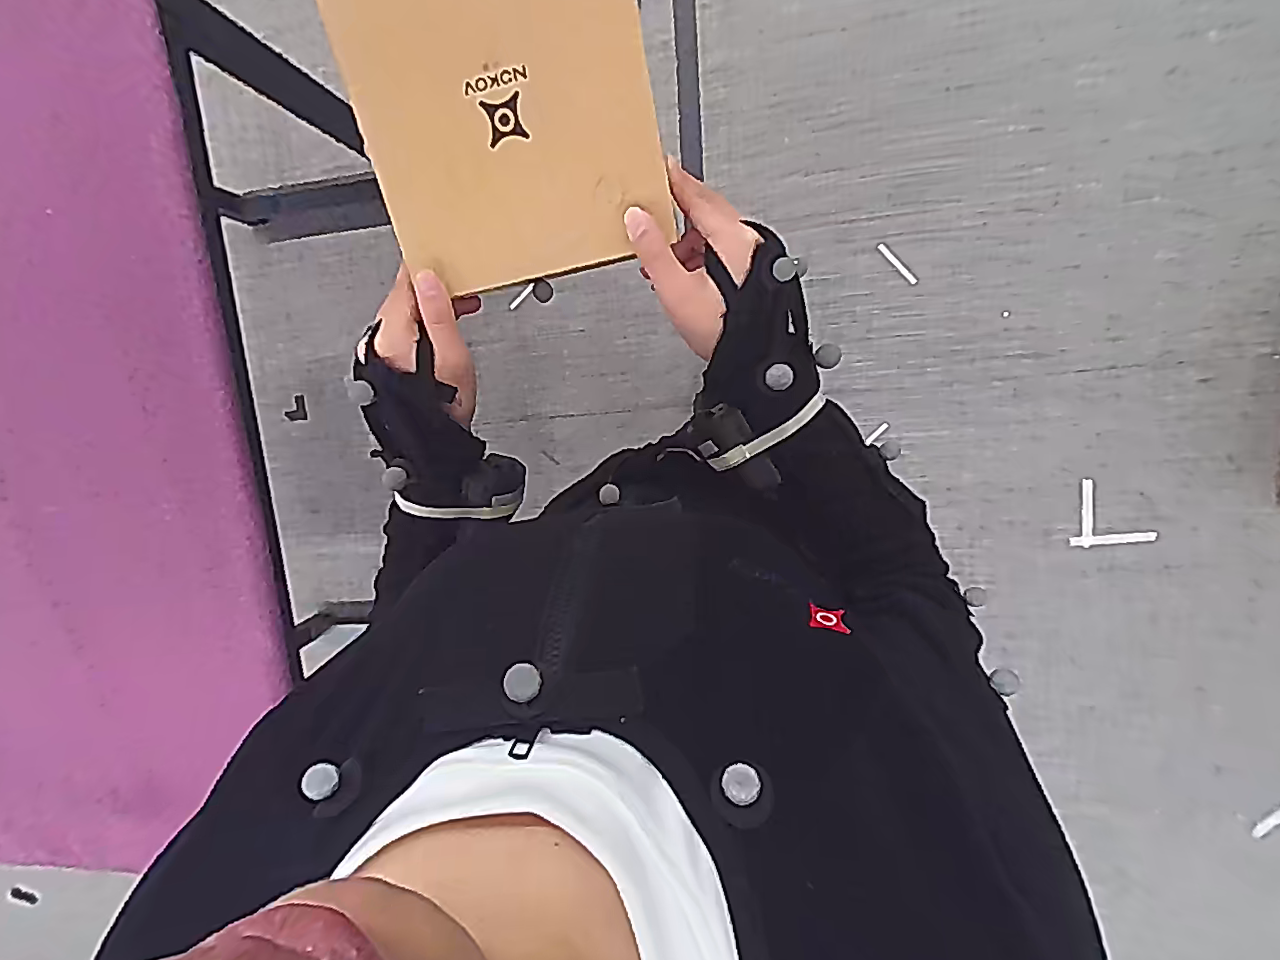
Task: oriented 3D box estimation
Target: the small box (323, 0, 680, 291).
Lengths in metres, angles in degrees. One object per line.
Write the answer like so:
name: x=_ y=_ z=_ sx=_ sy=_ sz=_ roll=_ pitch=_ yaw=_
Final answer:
small box: x=-0.067 y=-0.238 z=0.366 sx=0.168 sy=0.176 sz=0.179 roll=-10 pitch=110 yaw=8
